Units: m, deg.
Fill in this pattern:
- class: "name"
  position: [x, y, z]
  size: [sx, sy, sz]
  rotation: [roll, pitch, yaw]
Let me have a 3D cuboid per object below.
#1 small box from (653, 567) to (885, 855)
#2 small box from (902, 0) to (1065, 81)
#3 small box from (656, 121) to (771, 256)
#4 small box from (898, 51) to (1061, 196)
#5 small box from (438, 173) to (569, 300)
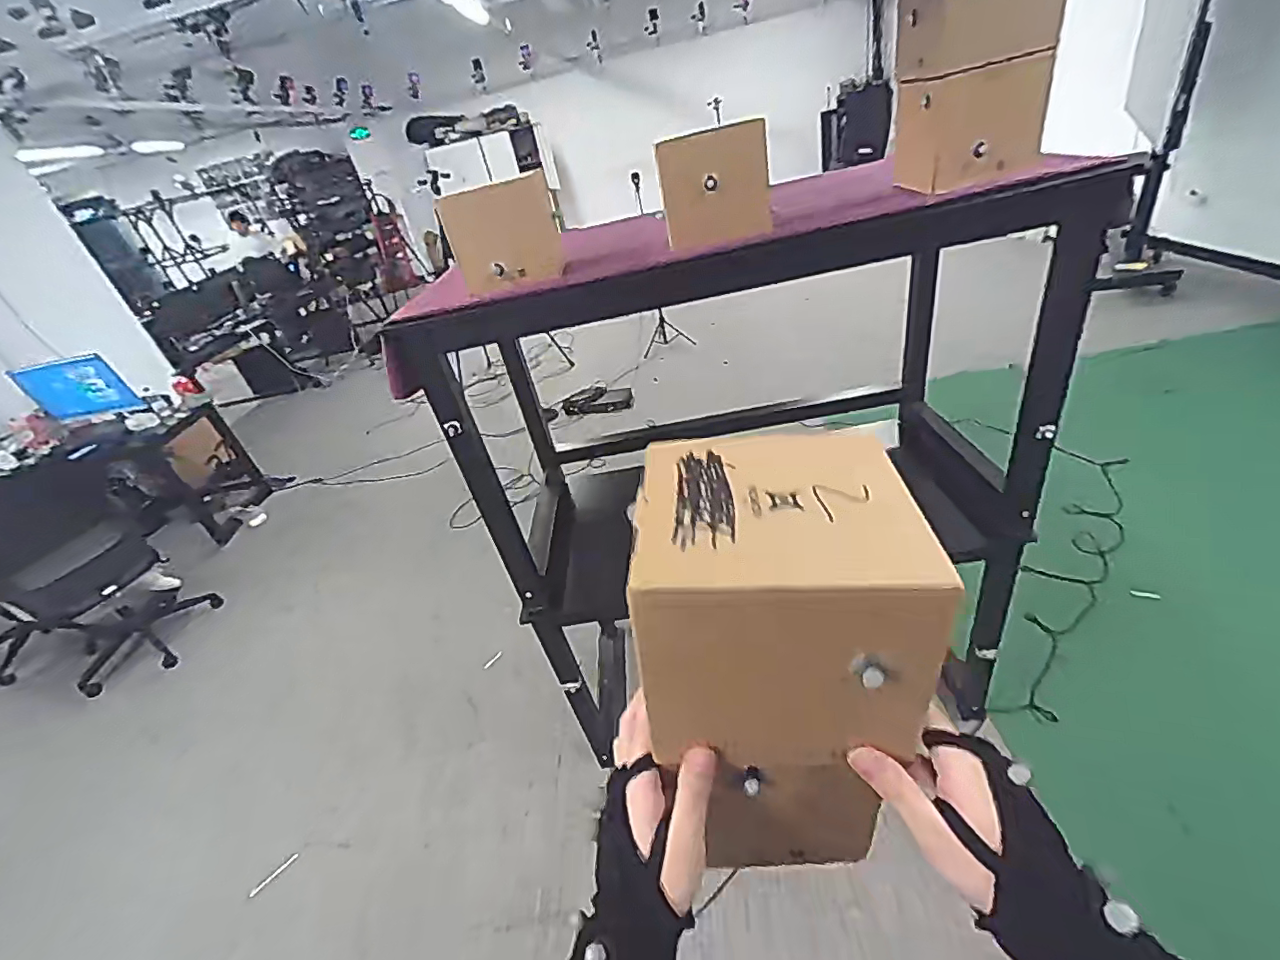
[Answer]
- class: "small box"
  position: [0.100, 0.204, 0.493]
  size: [0.168, 0.176, 0.179]
  rotation: [-6, 31, 4]
- class: "small box"
  position: [0.510, -0.720, 0.814]
  size: [0.179, 0.176, 0.168]
  rotation: [-10, 34, 7]
- class: "small box"
  position: [0.129, -0.511, 0.947]
  size: [0.179, 0.176, 0.168]
  rotation: [-10, 32, 8]
- class: "small box"
  position: [0.551, -0.592, 0.910]
  size: [0.168, 0.176, 0.179]
  rotation: [-10, 34, 7]
- class: "small box"
  position: [-0.232, -0.438, 0.974]
  size: [0.168, 0.176, 0.179]
  rotation: [-11, 32, 5]
